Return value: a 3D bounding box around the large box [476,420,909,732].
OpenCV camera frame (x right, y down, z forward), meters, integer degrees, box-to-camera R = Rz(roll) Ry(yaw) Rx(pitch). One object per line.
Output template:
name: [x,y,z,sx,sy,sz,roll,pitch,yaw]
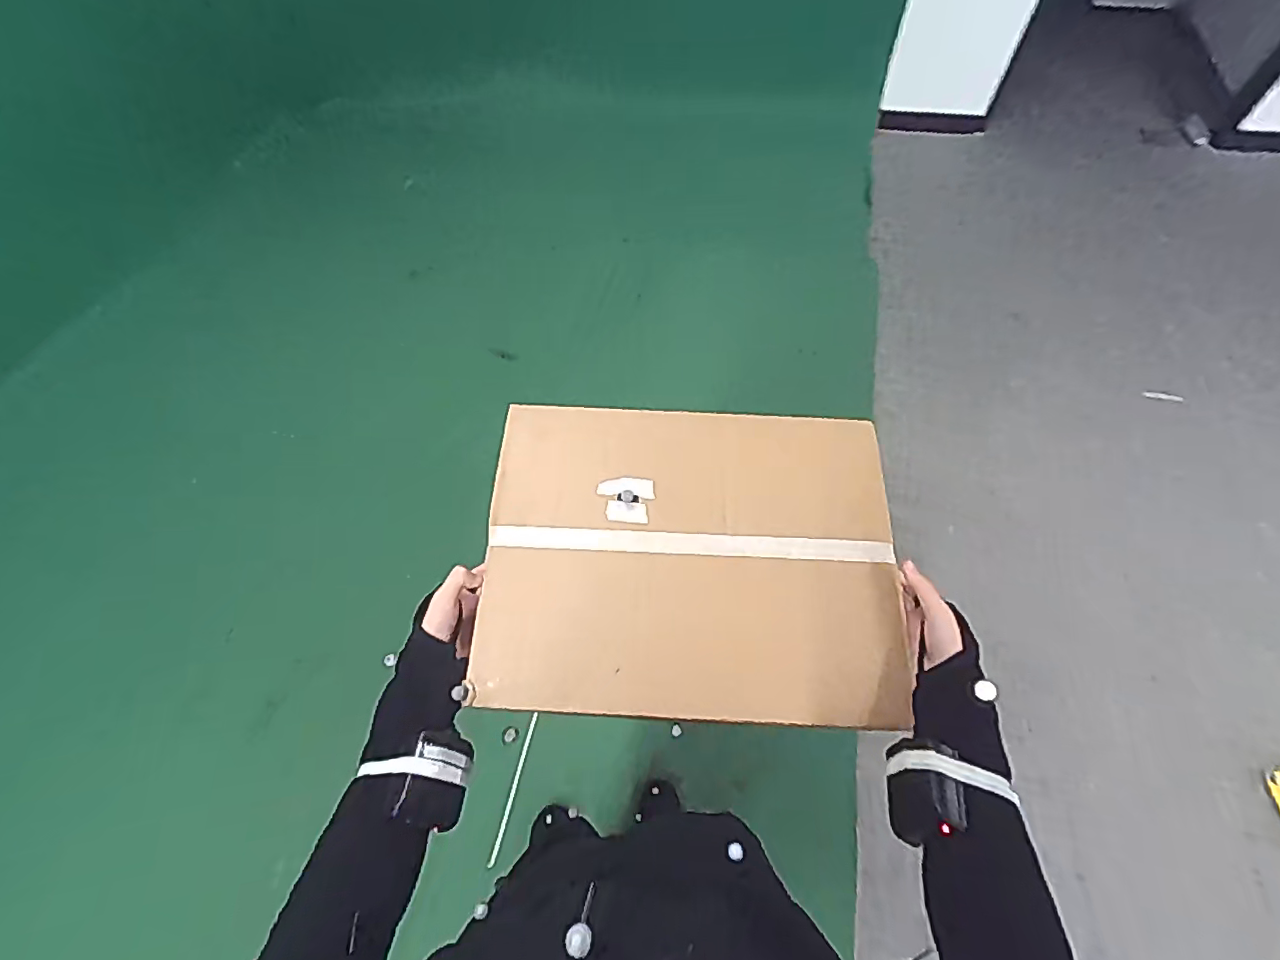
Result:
large box: [0.055,0.137,0.687,0.408,0.320,0.320,3,65,2]
